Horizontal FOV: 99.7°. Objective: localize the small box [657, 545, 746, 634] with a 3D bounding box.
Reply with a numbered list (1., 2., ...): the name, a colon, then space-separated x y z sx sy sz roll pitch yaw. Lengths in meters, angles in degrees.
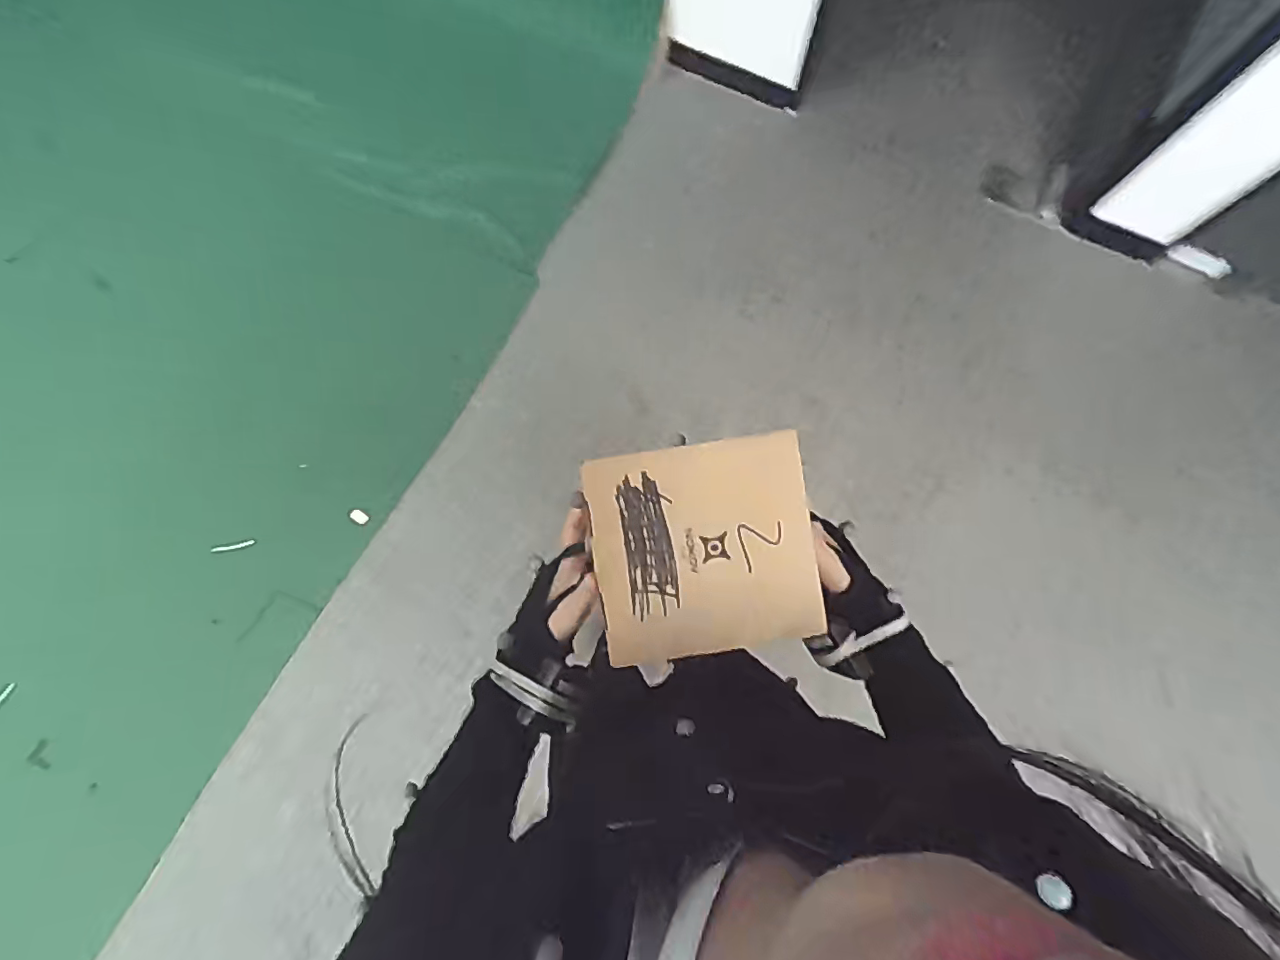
1. small box: 0.158 0.285 1.421 0.179 0.176 0.168 25 80 8
